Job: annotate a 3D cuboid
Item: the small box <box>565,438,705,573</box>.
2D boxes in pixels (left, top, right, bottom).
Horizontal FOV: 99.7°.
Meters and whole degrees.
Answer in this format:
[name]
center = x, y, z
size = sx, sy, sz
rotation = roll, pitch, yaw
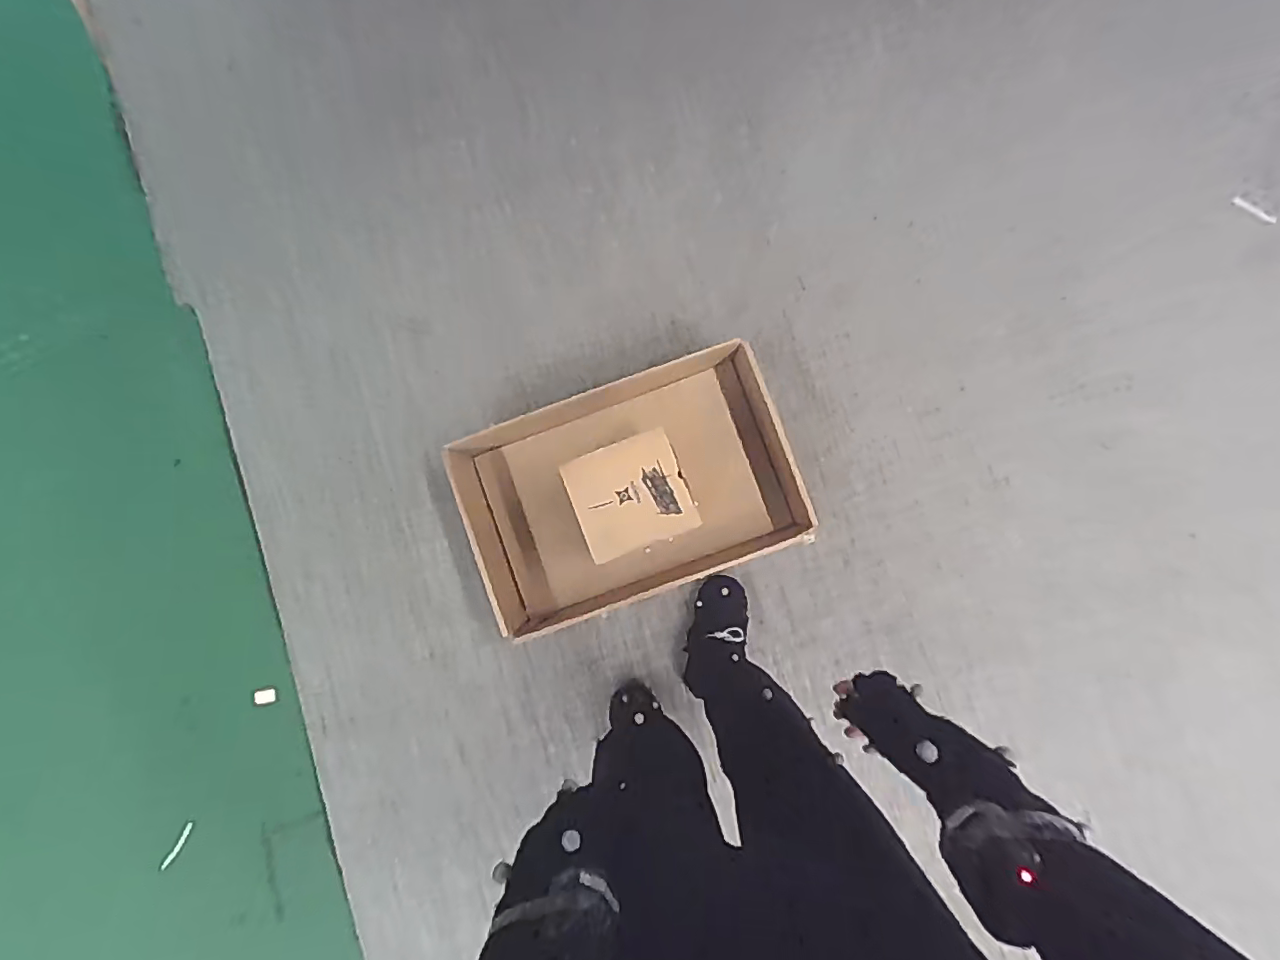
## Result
[small box]
center = -0.004, 0.042, 0.898
size = 0.179, 0.176, 0.168
rotation = -20, 85, 3
